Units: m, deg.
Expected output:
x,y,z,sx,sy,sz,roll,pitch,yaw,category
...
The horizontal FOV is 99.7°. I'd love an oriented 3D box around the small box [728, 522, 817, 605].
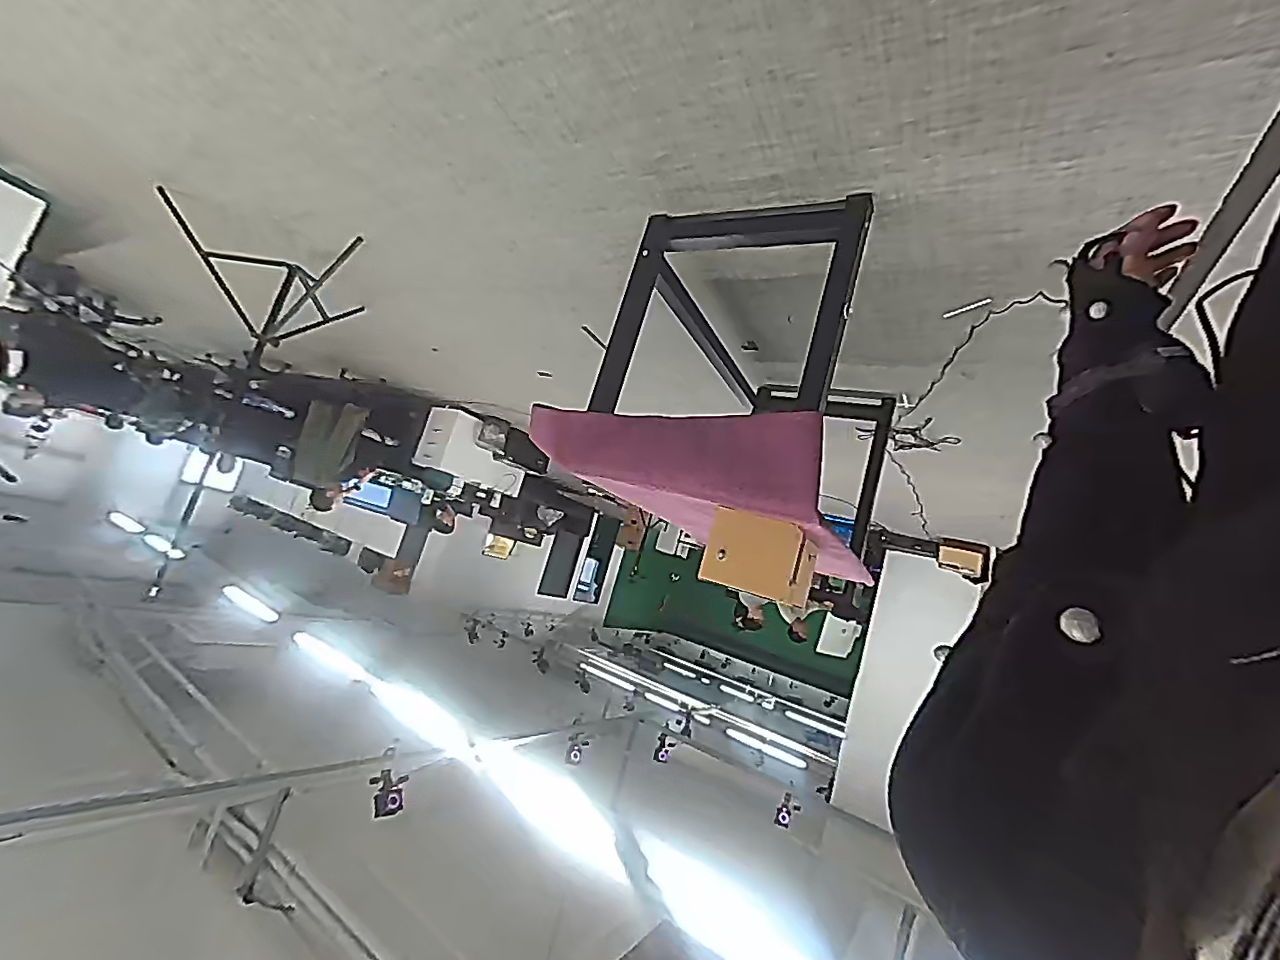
x,y,z,sx,sy,sz,roll,pitch,yaw,category
0.346,0.212,1.393,0.168,0.176,0.179,11,169,31,small box
